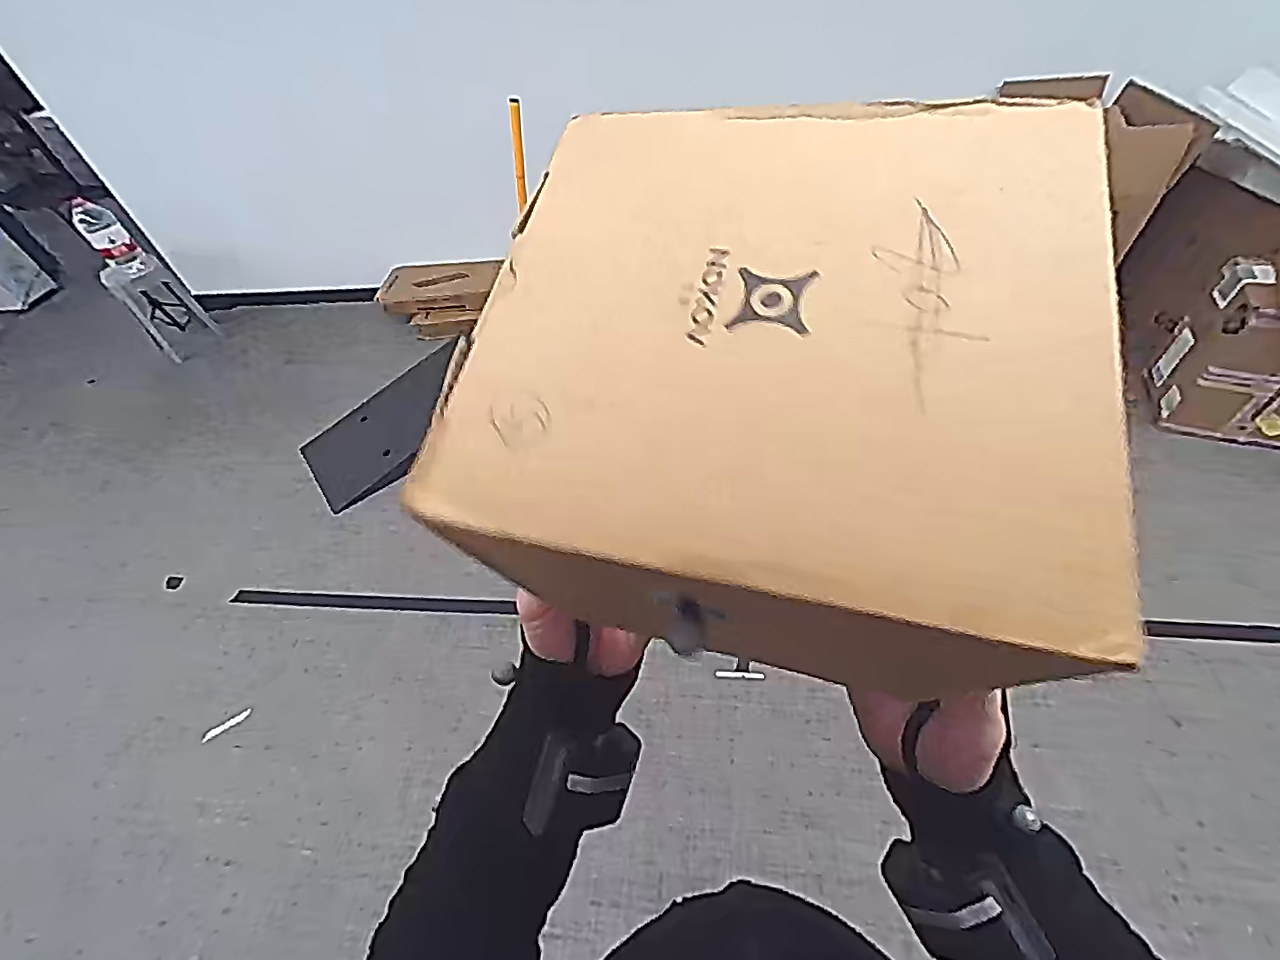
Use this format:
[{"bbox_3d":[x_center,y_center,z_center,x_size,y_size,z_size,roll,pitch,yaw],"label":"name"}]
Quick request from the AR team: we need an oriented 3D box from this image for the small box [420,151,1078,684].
[{"bbox_3d":[0.047,-0.012,0.241,0.179,0.176,0.168,9,70,14],"label":"small box"}]
